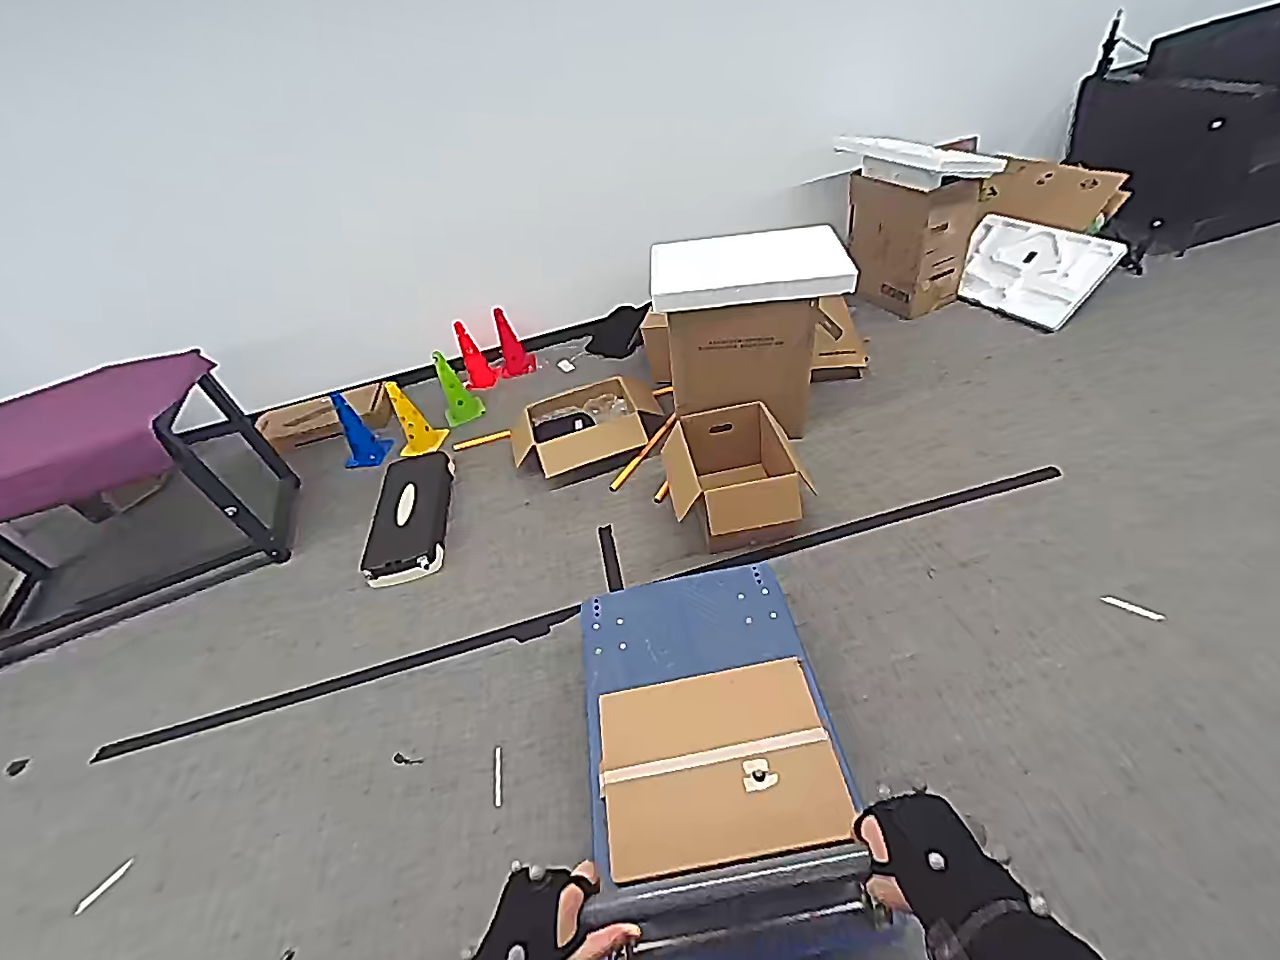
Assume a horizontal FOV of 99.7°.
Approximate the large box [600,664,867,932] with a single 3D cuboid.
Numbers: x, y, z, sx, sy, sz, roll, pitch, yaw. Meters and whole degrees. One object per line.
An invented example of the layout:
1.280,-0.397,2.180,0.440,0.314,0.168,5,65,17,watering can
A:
0.156,0.606,1.034,0.408,0.320,0.320,-11,42,0,large box
